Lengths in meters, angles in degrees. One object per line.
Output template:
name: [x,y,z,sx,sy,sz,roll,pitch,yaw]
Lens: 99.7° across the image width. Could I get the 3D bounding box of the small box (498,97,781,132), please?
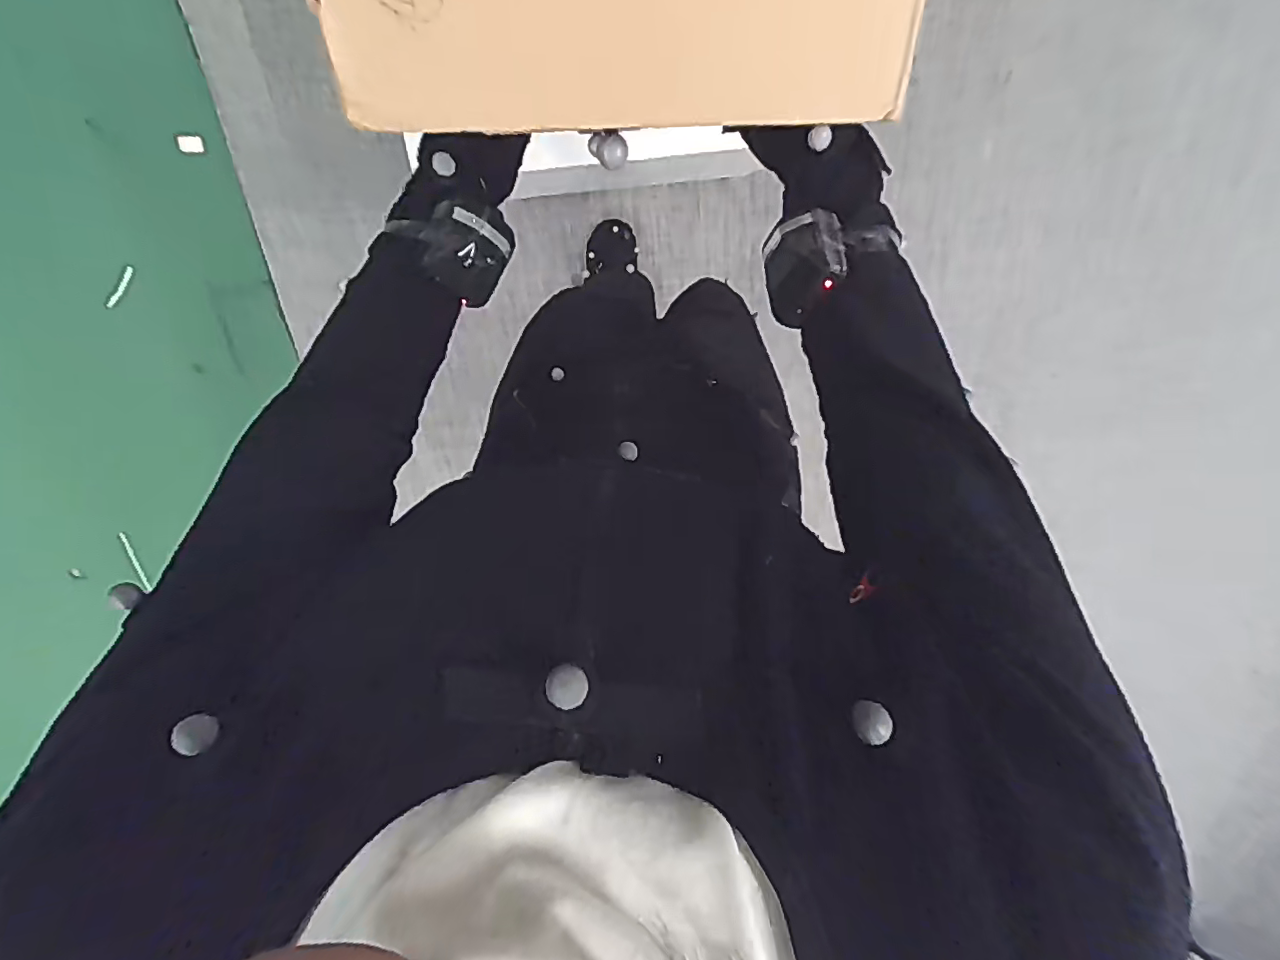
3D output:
small box: [-0.010,-0.325,0.334,0.168,0.176,0.179,-6,124,2]
